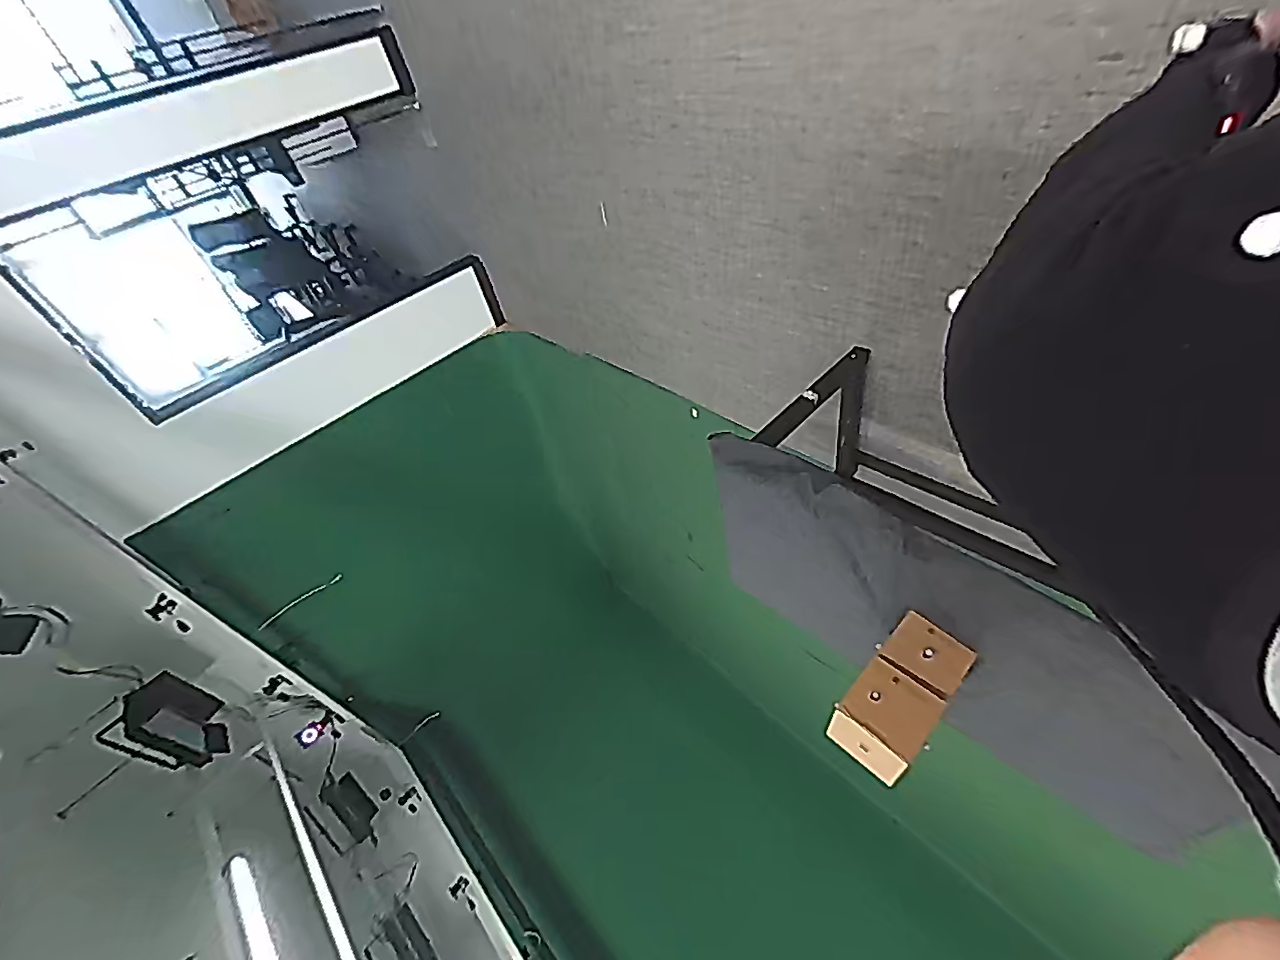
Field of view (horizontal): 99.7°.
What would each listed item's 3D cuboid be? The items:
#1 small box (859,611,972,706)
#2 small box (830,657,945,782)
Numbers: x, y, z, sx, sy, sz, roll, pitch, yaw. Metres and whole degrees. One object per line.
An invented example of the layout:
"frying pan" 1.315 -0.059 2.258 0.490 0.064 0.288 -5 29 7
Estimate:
"small box" 0.667 0.451 1.309 0.168 0.176 0.179 37 152 28
"small box" 0.556 0.535 1.221 0.168 0.176 0.179 35 152 34
